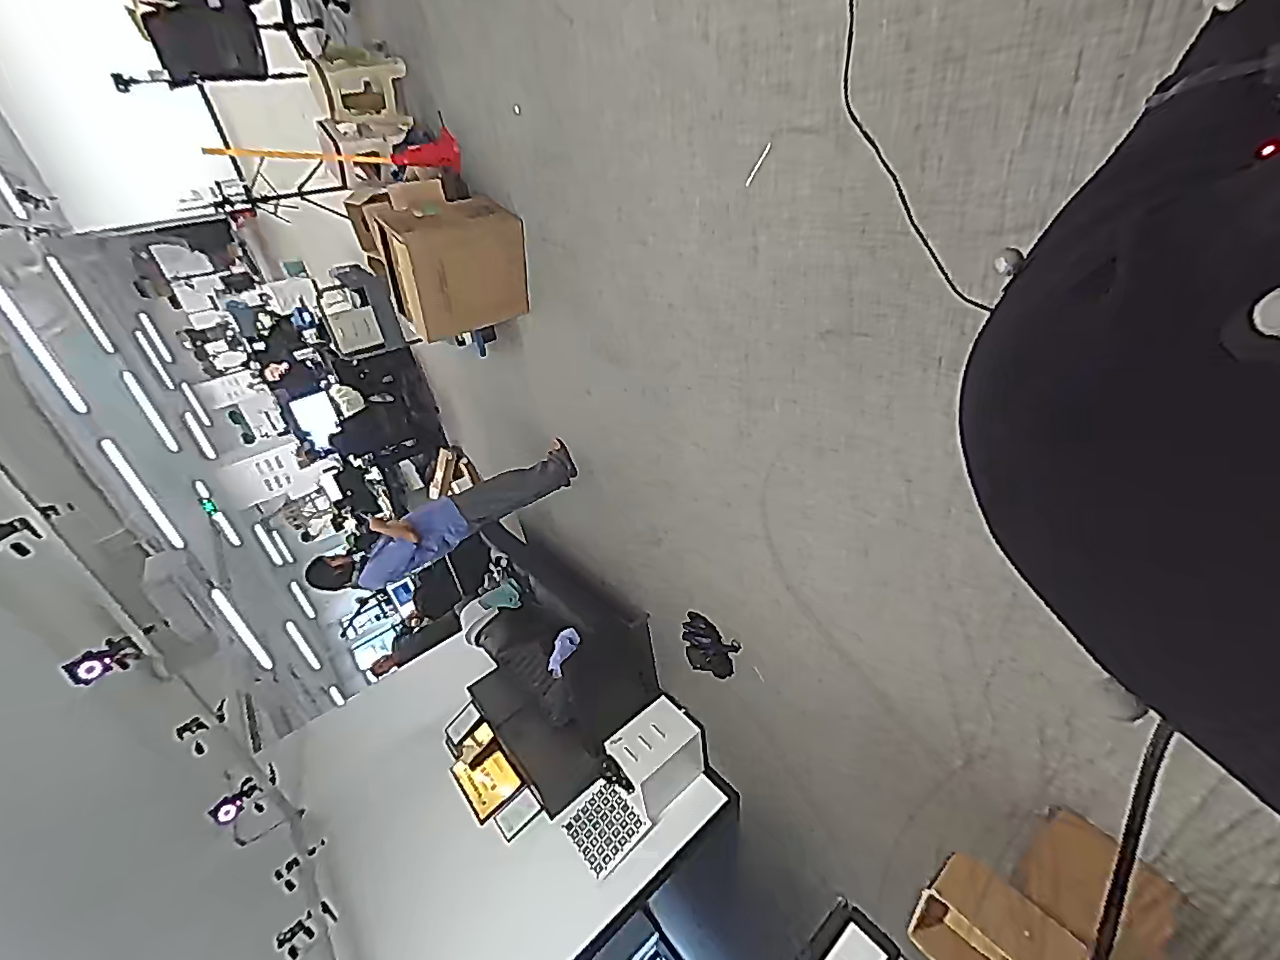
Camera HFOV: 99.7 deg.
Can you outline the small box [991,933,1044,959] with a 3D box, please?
[{"bbox_3d":[1.094,1.461,1.549,0.168,0.176,0.179,28,139,45],"label":"small box"}]
